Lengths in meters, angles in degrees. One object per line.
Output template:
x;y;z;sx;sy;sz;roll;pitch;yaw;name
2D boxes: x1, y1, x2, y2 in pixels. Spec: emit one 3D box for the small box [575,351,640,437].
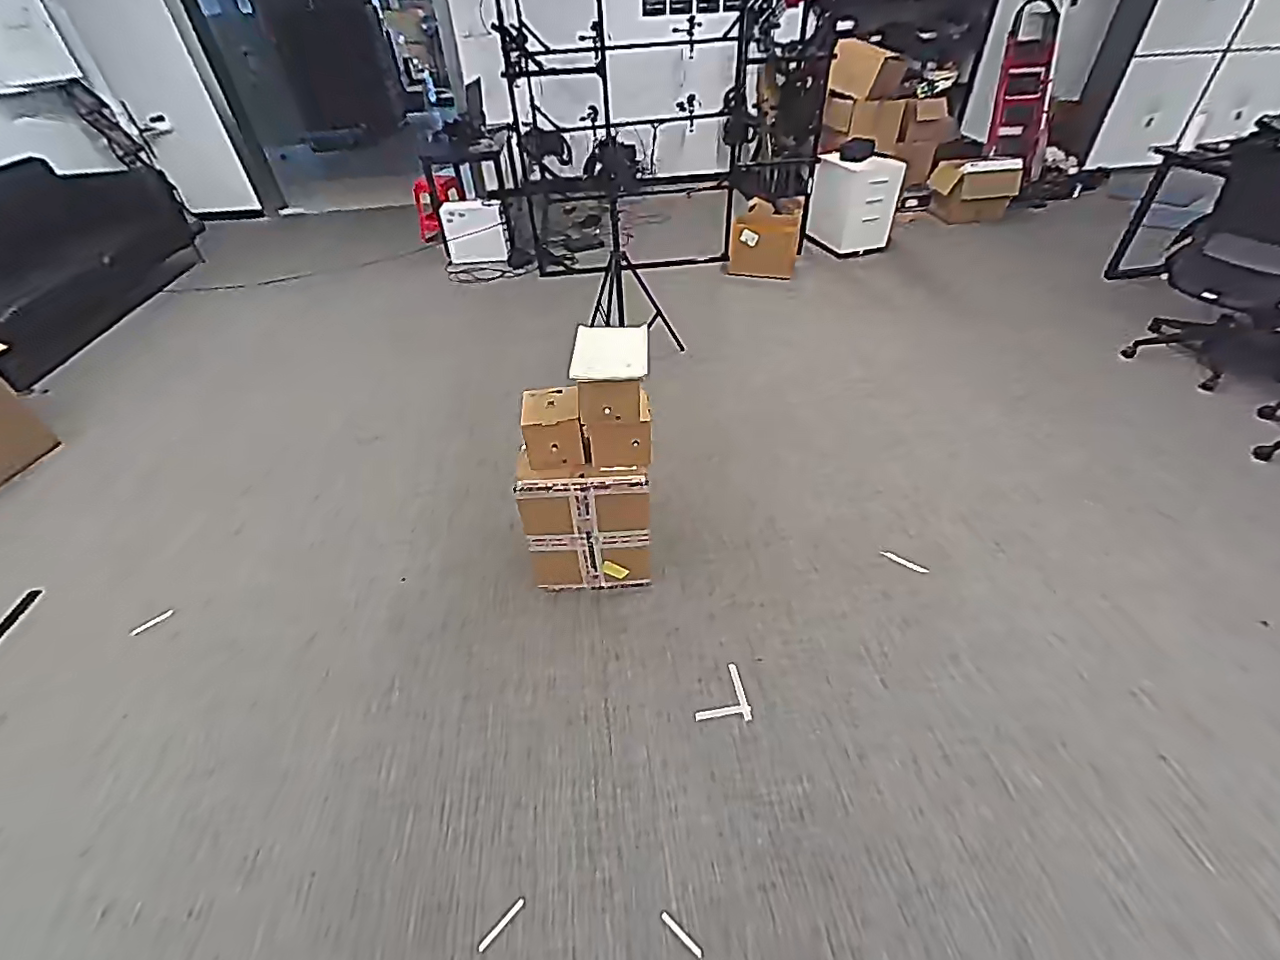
-0.085;-0.237;1.485;0.168;0.176;0.179;0;43;0;small box
